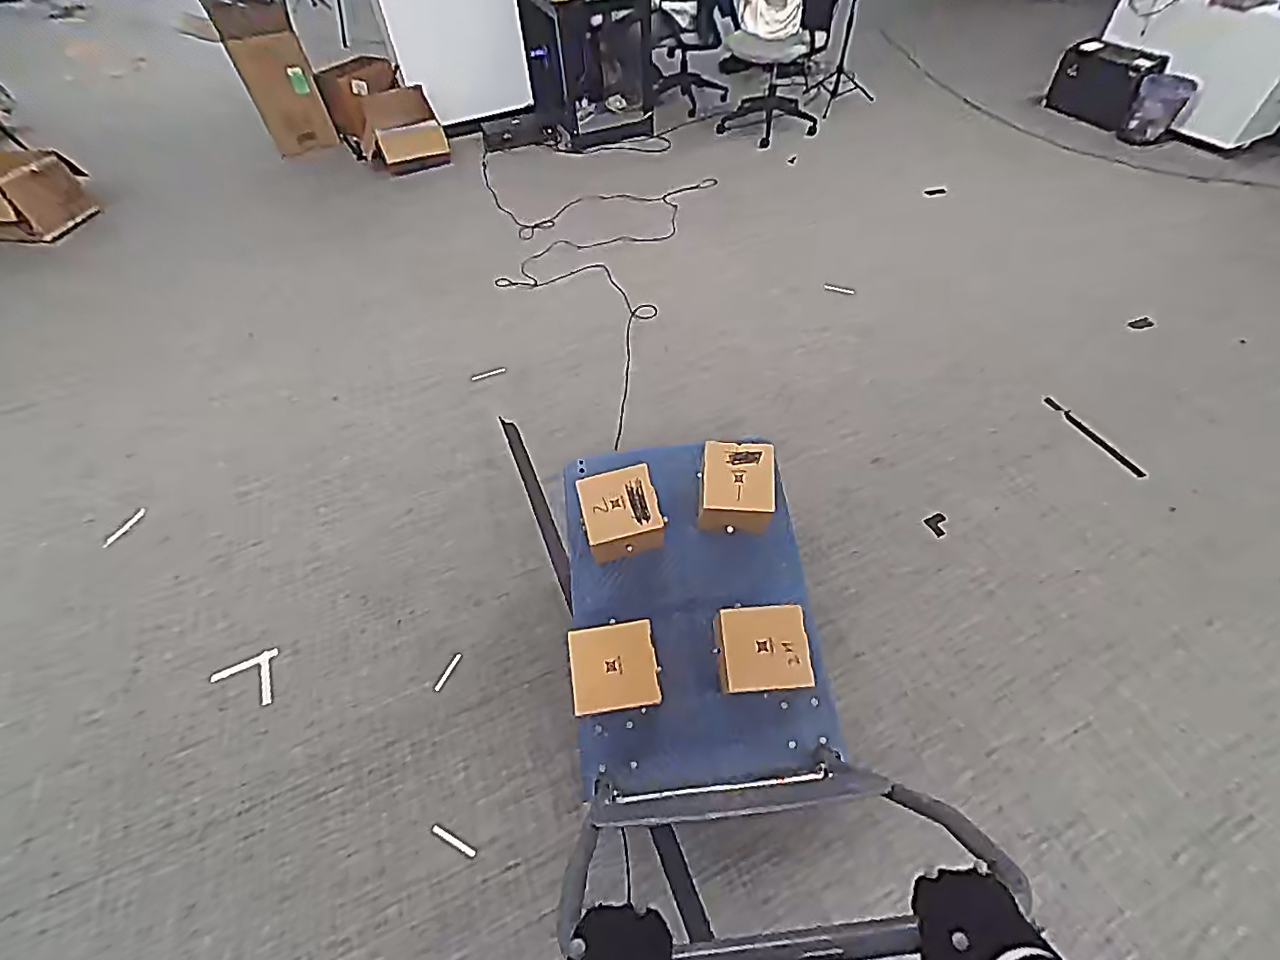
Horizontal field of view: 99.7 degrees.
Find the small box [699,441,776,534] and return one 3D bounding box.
[{"bbox_3d":[0.236,0.022,1.335,0.168,0.176,0.179,3,68,3],"label":"small box"}]

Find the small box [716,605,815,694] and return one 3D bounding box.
[{"bbox_3d":[0.263,0.375,1.182,0.179,0.176,0.168,-4,67,0],"label":"small box"}]

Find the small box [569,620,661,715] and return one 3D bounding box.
[{"bbox_3d":[-0.052,0.412,1.176,0.179,0.176,0.168,-8,66,-4],"label":"small box"}]
